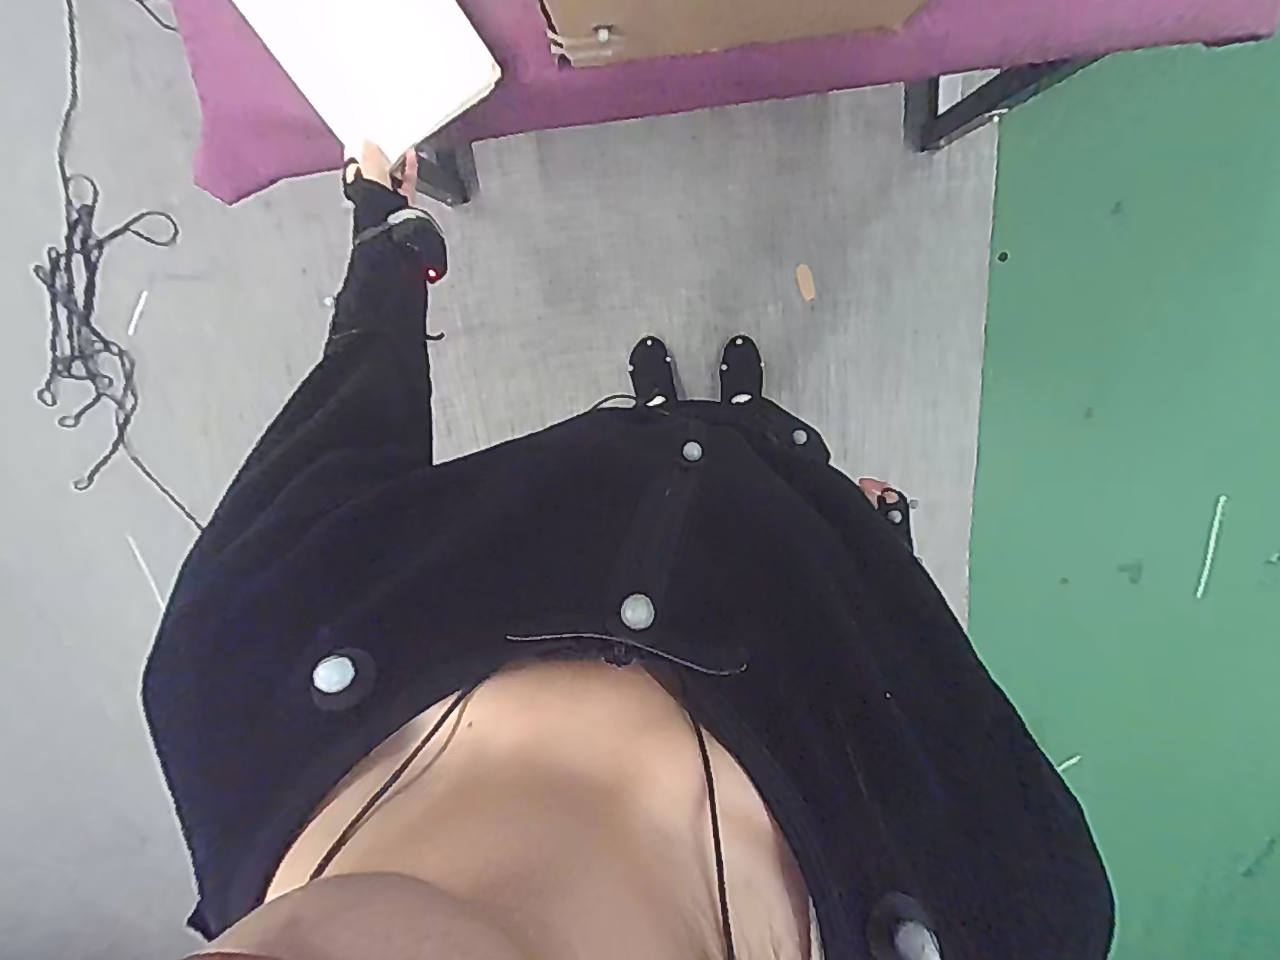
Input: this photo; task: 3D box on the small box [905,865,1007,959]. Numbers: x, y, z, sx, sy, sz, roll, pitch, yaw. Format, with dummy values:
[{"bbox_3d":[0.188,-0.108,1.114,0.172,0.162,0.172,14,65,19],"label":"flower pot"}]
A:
[{"bbox_3d":[0.829,1.159,1.430,0.168,0.176,0.179,-19,104,8],"label":"small box"}]
